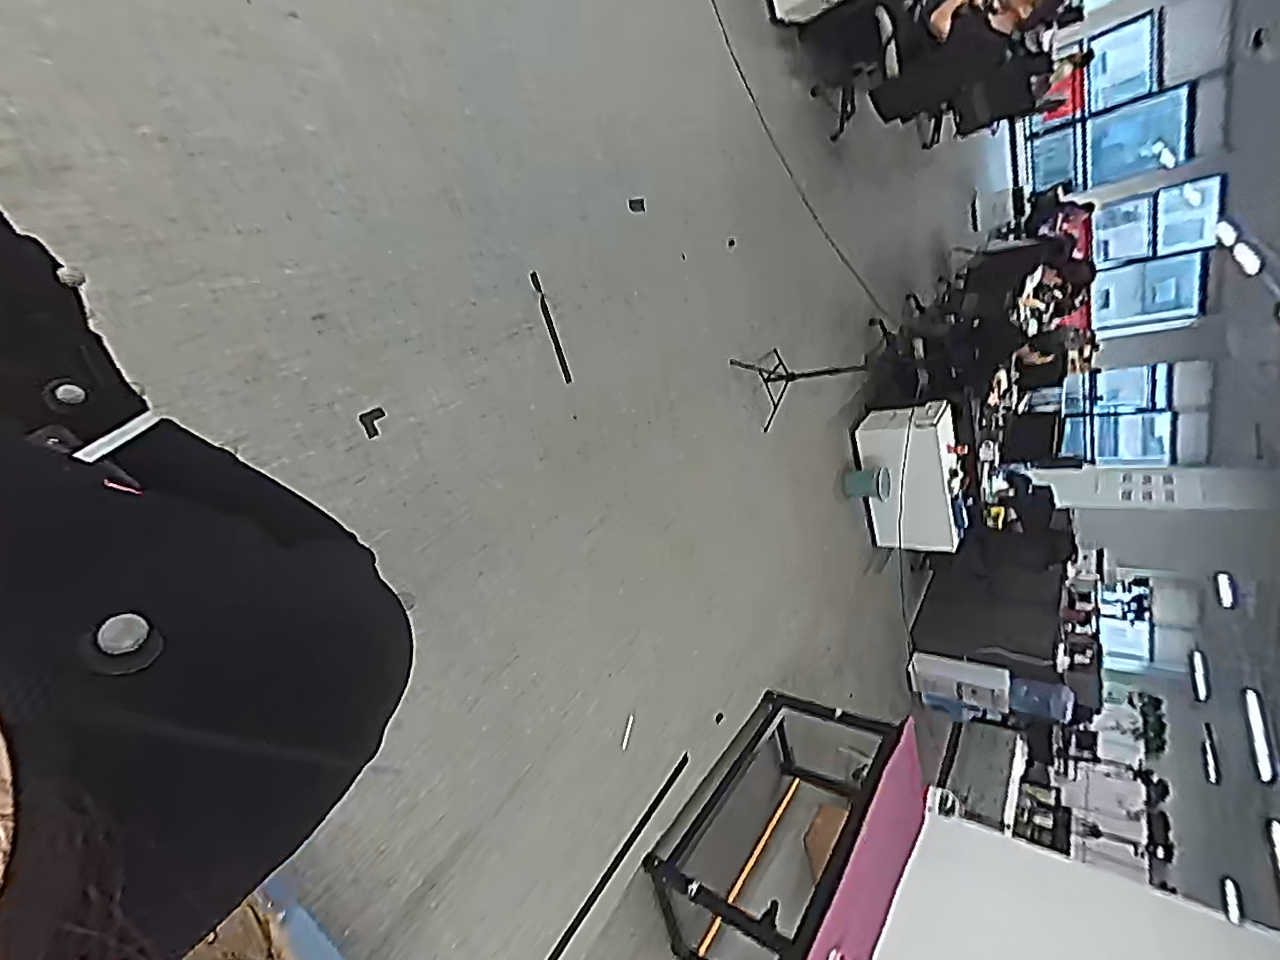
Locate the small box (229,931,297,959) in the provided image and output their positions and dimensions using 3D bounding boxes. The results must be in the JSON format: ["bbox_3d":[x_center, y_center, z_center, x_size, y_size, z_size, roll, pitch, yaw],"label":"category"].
[{"bbox_3d":[-0.650,0.931,0.916,0.168,0.176,0.179,-35,116,-43],"label":"small box"}]

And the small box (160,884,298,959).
[{"bbox_3d":[-0.776,0.931,1.023,0.179,0.176,0.168,-32,114,-44],"label":"small box"}]
